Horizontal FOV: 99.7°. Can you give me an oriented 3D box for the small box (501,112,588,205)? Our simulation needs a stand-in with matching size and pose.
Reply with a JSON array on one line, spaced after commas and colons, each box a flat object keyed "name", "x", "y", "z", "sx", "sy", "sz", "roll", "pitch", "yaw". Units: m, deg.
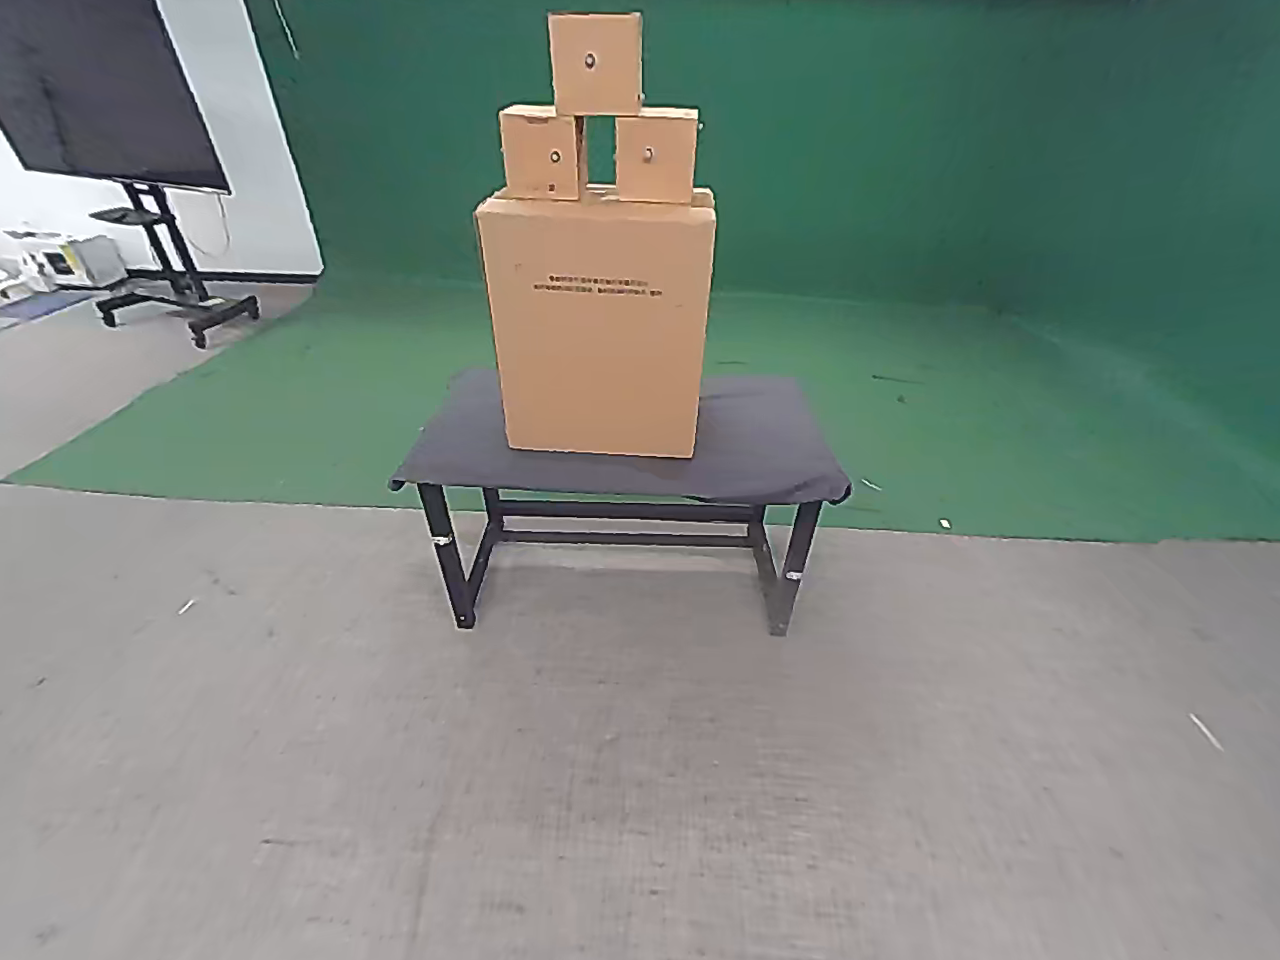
[{"name": "small box", "x": -0.215, "y": -0.757, "z": 1.272, "sx": 0.168, "sy": 0.176, "sz": 0.179, "roll": 4, "pitch": 38, "yaw": 1}]

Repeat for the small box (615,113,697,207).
[{"name": "small box", "x": 0.041, "y": -0.746, "z": 1.261, "sx": 0.179, "sy": 0.176, "sz": 0.168, "roll": 3, "pitch": 40, "yaw": 4}]

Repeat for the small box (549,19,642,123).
[{"name": "small box", "x": -0.086, "y": -0.879, "z": 1.162, "sx": 0.179, "sy": 0.176, "sz": 0.168, "roll": 1, "pitch": 39, "yaw": 3}]
